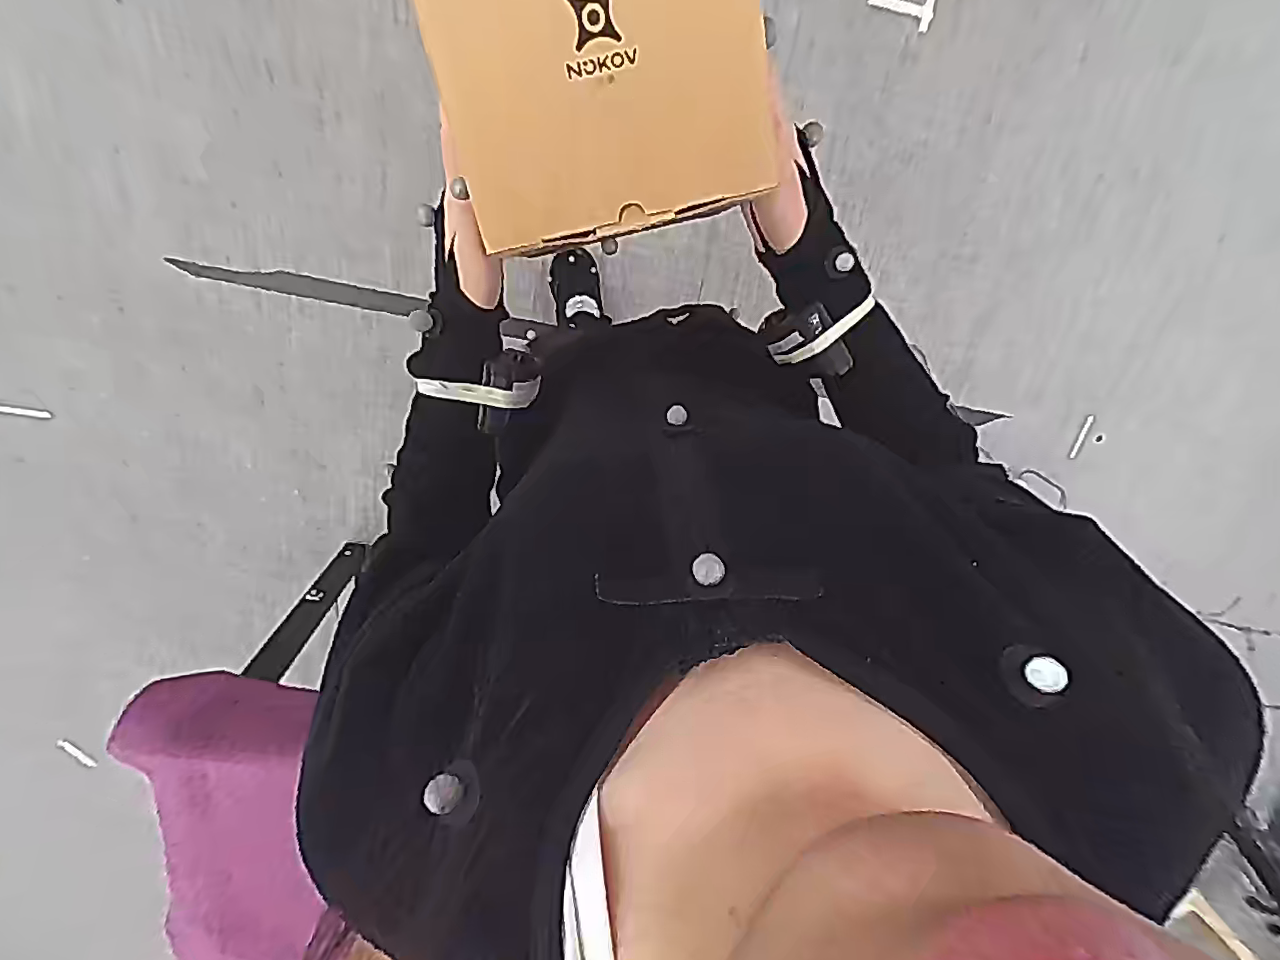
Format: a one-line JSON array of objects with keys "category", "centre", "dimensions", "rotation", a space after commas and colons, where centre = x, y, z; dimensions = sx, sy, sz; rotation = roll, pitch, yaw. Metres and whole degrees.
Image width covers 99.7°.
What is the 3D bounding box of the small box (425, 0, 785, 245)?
[{"category": "small box", "centre": [-0.025, -0.254, 0.333], "dimensions": [0.168, 0.176, 0.179], "rotation": [-14, 114, 1]}]
